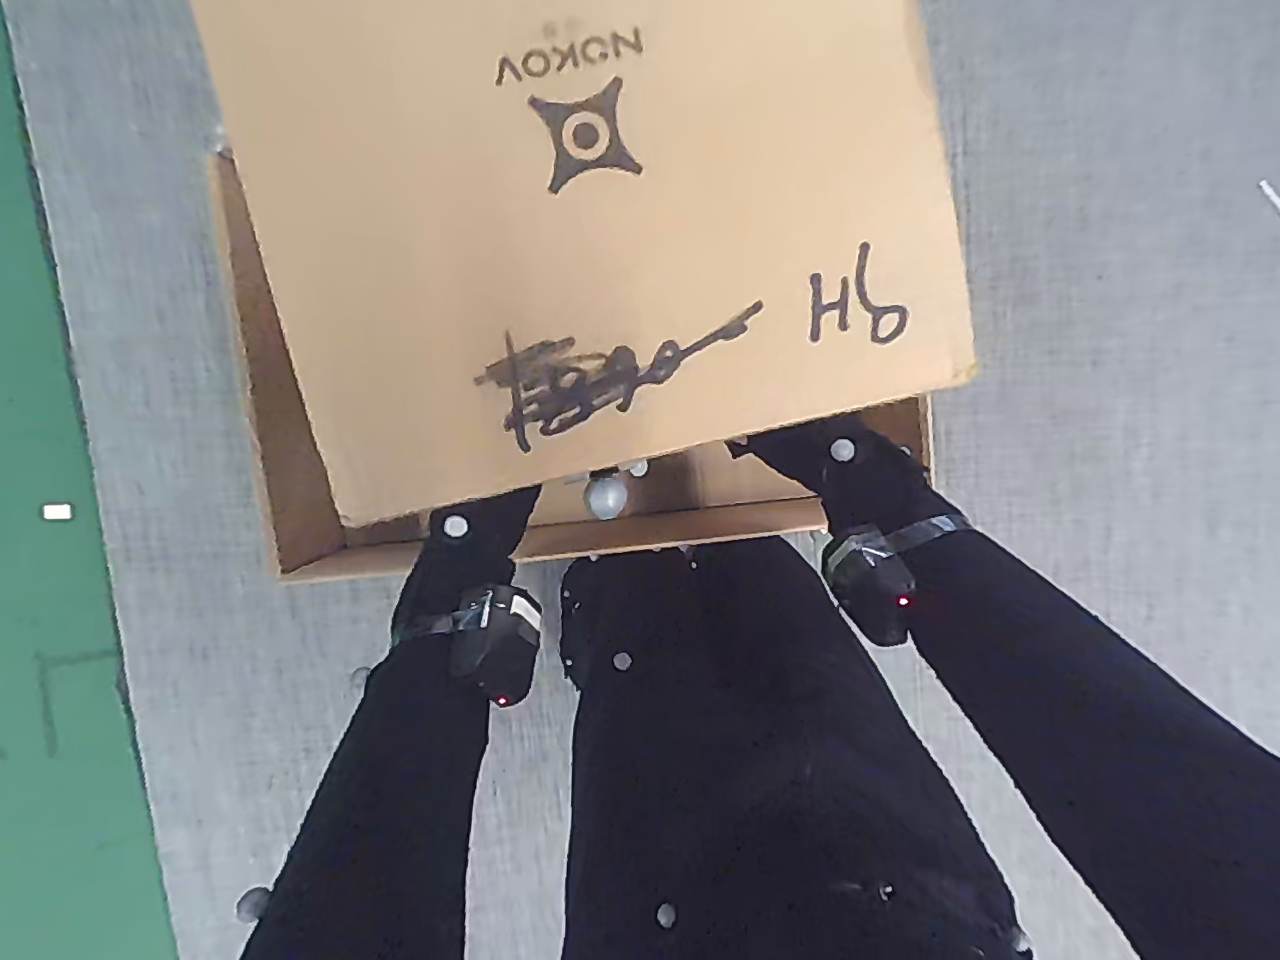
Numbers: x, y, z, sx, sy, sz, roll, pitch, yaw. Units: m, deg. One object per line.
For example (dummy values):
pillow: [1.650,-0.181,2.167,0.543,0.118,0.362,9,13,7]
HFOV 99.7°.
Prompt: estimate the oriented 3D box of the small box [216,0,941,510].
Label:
small box: [-0.018,-0.095,0.220,0.168,0.176,0.179,-13,93,1]
